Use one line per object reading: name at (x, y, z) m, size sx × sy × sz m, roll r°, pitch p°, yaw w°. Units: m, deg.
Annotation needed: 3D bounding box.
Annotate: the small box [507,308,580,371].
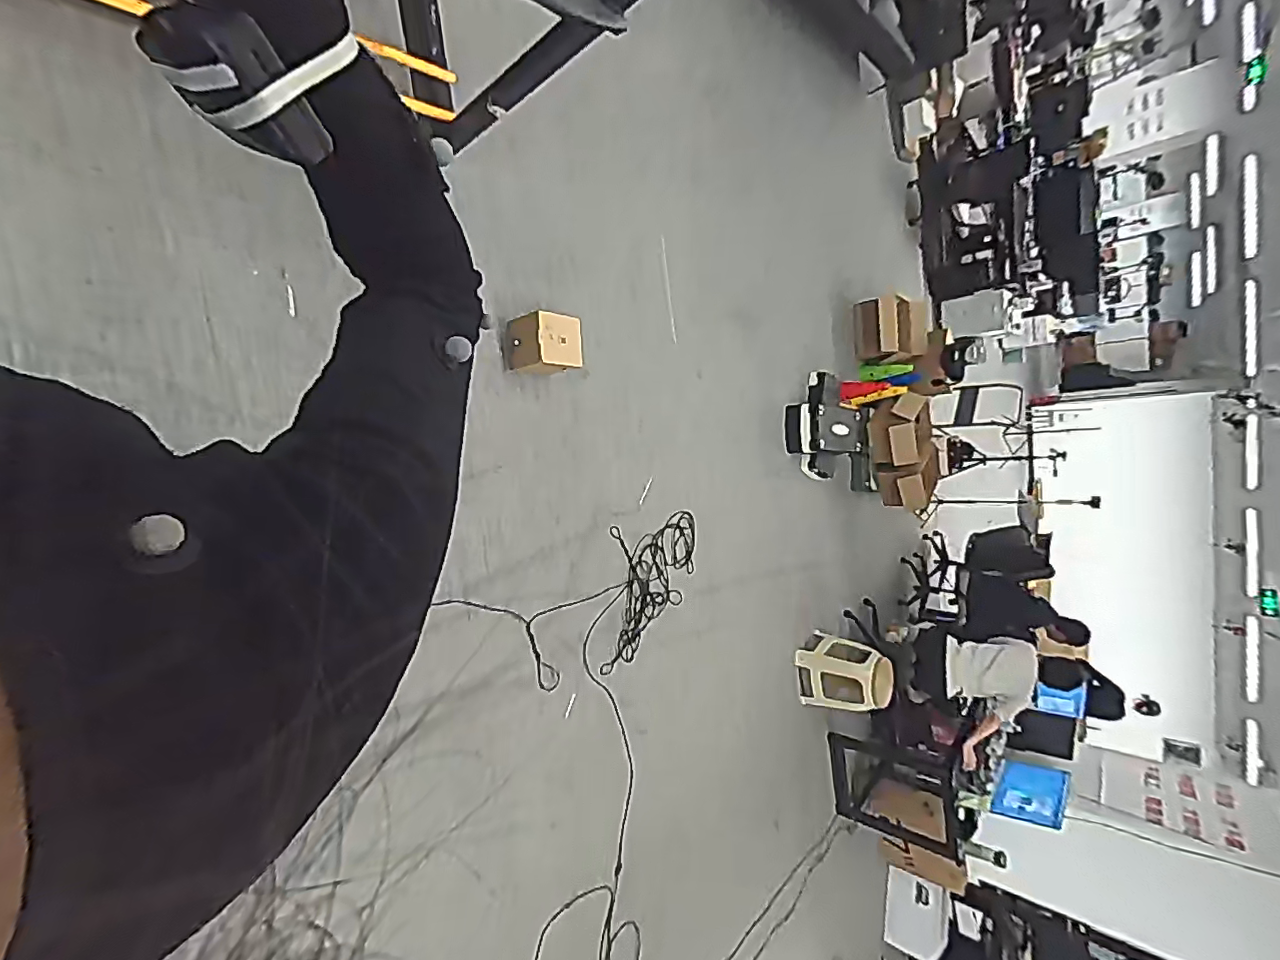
small box at (-0.322, -0.462, 1.808) m, size 0.179 × 0.176 × 0.168 m, roll -5°, pitch 92°, yaw -47°
